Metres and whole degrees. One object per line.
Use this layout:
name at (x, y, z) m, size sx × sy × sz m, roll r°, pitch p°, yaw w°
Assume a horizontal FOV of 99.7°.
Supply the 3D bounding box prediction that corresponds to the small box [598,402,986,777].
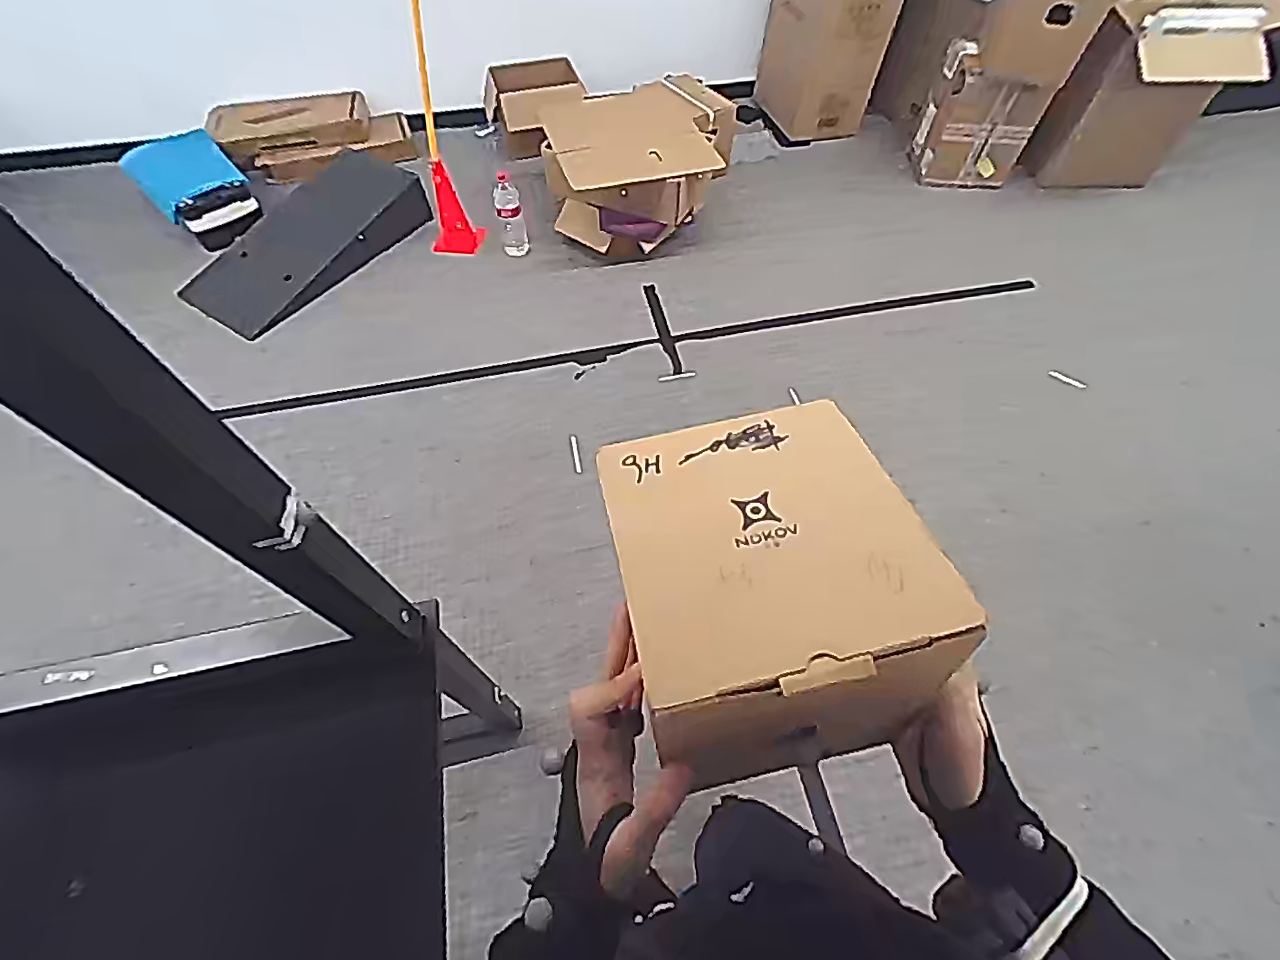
small box at (0.076, 0.080, 0.362) m, size 0.168 × 0.176 × 0.179 m, roll -12°, pitch 49°, yaw -4°
